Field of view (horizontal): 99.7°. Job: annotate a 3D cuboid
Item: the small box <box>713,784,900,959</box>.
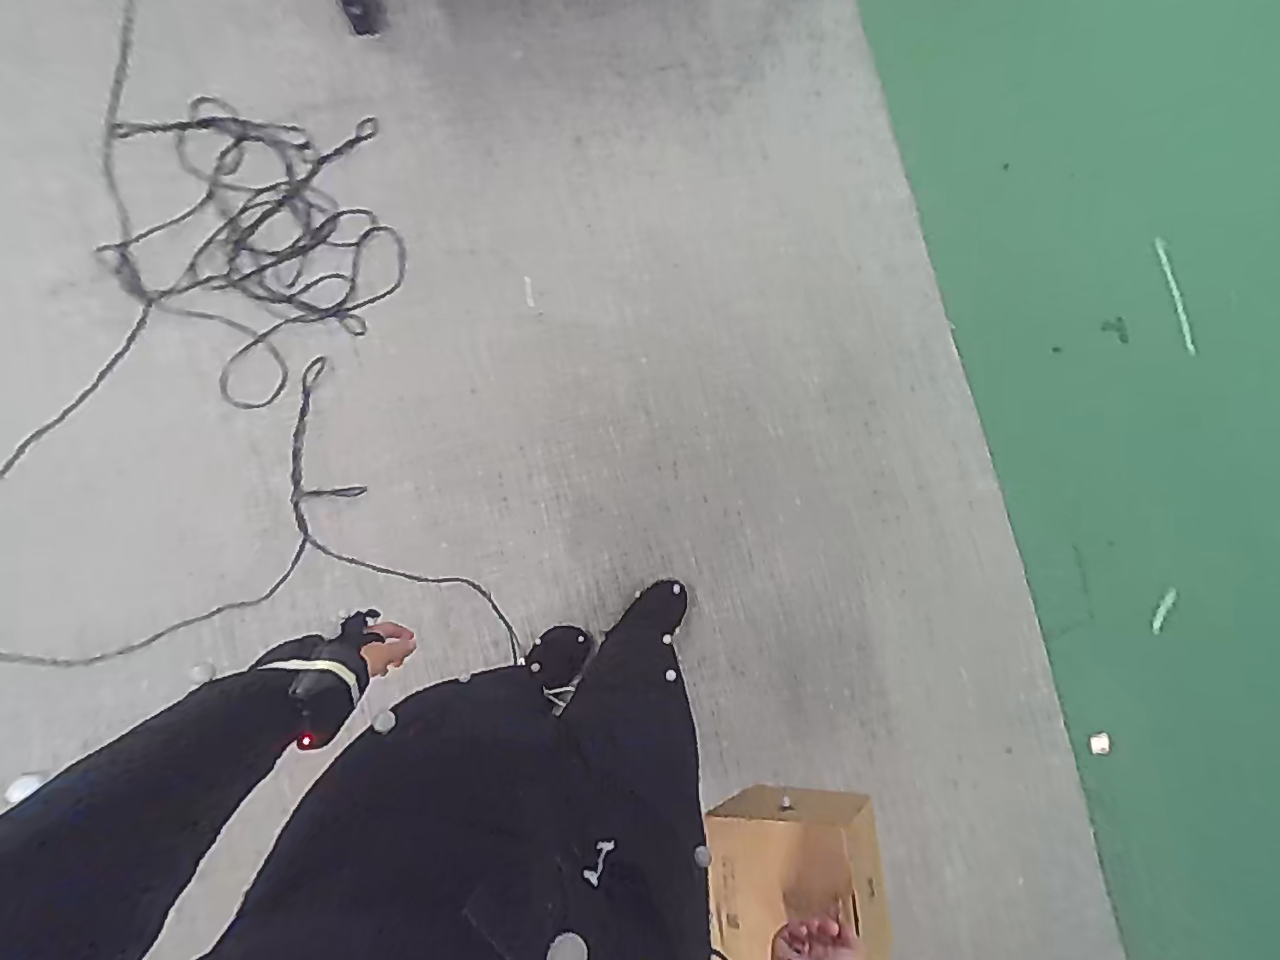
[{"bbox_3d":[0.192,0.469,0.643,0.176,0.179,0.168,-15,68,26],"label":"small box"}]
